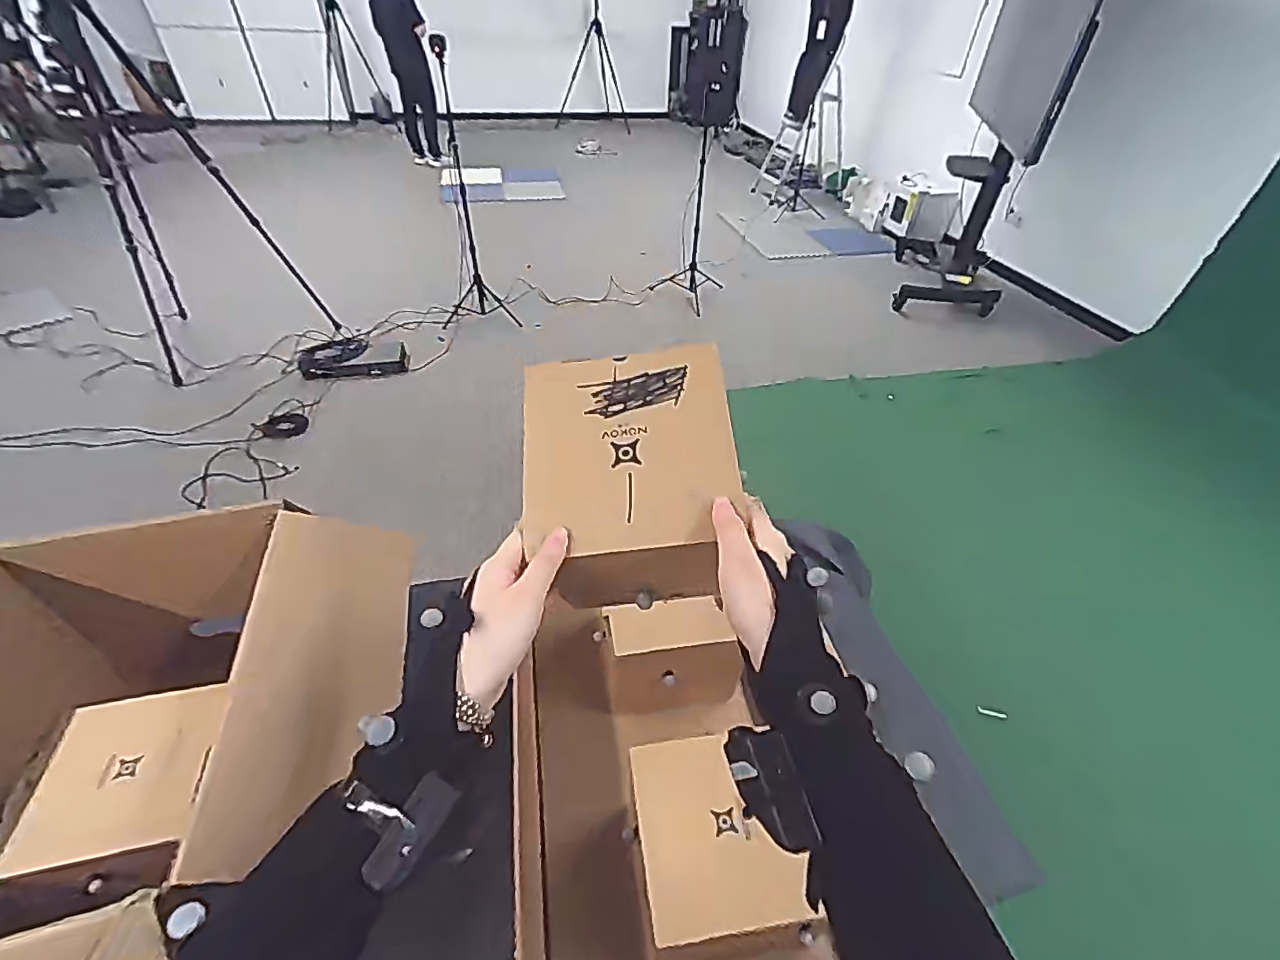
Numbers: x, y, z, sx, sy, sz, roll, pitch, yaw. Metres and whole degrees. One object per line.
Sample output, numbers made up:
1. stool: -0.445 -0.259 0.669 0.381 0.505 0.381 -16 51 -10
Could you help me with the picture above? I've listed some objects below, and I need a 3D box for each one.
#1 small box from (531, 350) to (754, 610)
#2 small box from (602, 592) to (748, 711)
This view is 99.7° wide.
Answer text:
1. small box: 0.004 0.009 0.498 0.168 0.176 0.179 -7 64 4
2. small box: 0.038 0.204 0.762 0.179 0.176 0.168 -7 45 -7
